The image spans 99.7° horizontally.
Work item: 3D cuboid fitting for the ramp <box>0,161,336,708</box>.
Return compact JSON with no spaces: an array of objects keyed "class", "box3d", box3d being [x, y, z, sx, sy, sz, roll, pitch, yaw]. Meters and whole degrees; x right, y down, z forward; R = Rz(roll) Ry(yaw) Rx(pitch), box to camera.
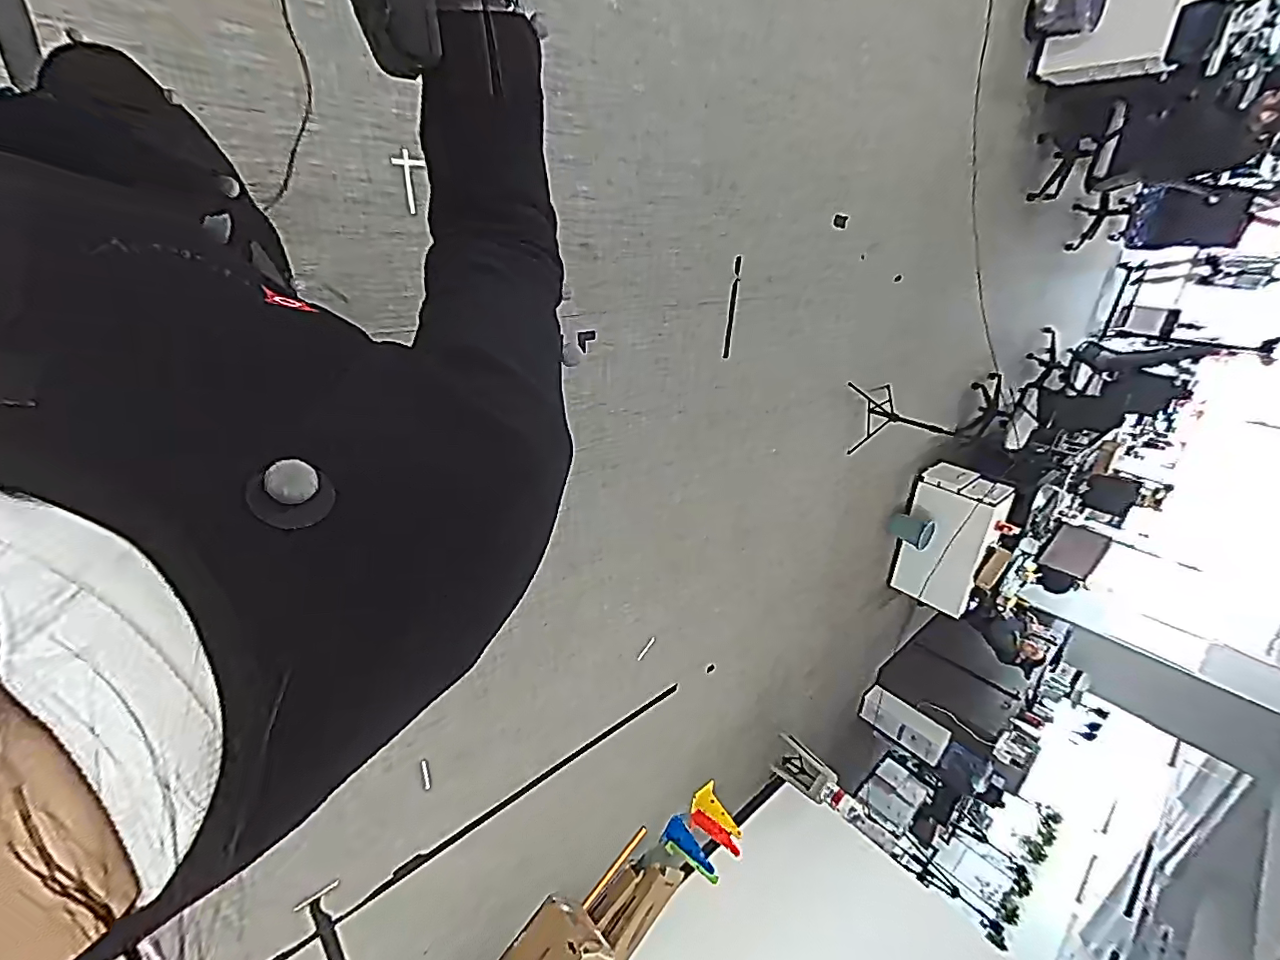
[{"class":"ramp","box3d":[-0.982,-0.074,1.090,0.509,0.206,0.991,-17,121,-37]}]
